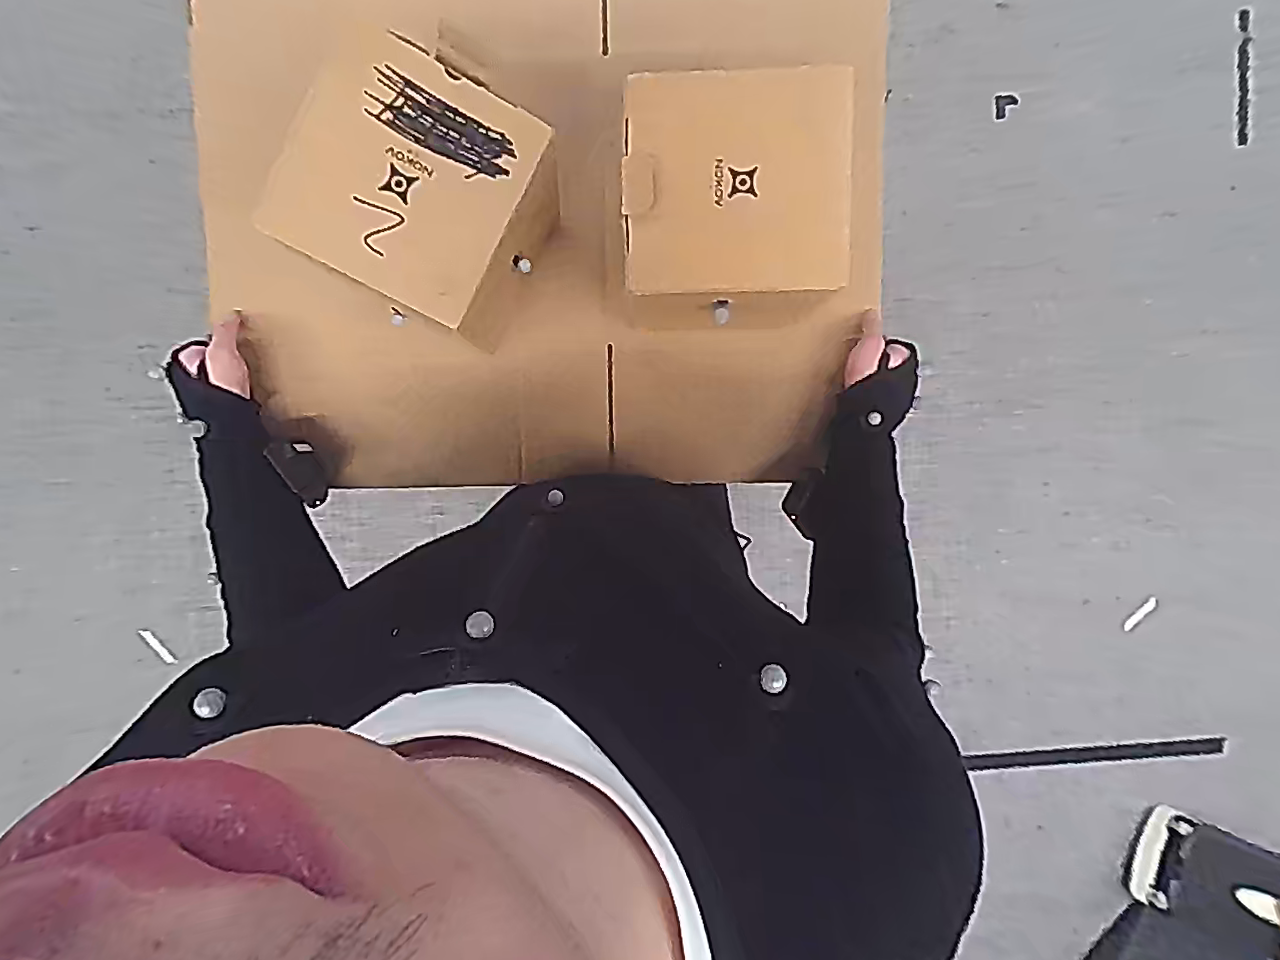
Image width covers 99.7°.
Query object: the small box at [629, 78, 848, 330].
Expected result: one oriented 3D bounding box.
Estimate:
[{"bbox_3d":[0.081,-0.243,0.516,0.179,0.176,0.168,0,94,3],"label":"small box"}]
